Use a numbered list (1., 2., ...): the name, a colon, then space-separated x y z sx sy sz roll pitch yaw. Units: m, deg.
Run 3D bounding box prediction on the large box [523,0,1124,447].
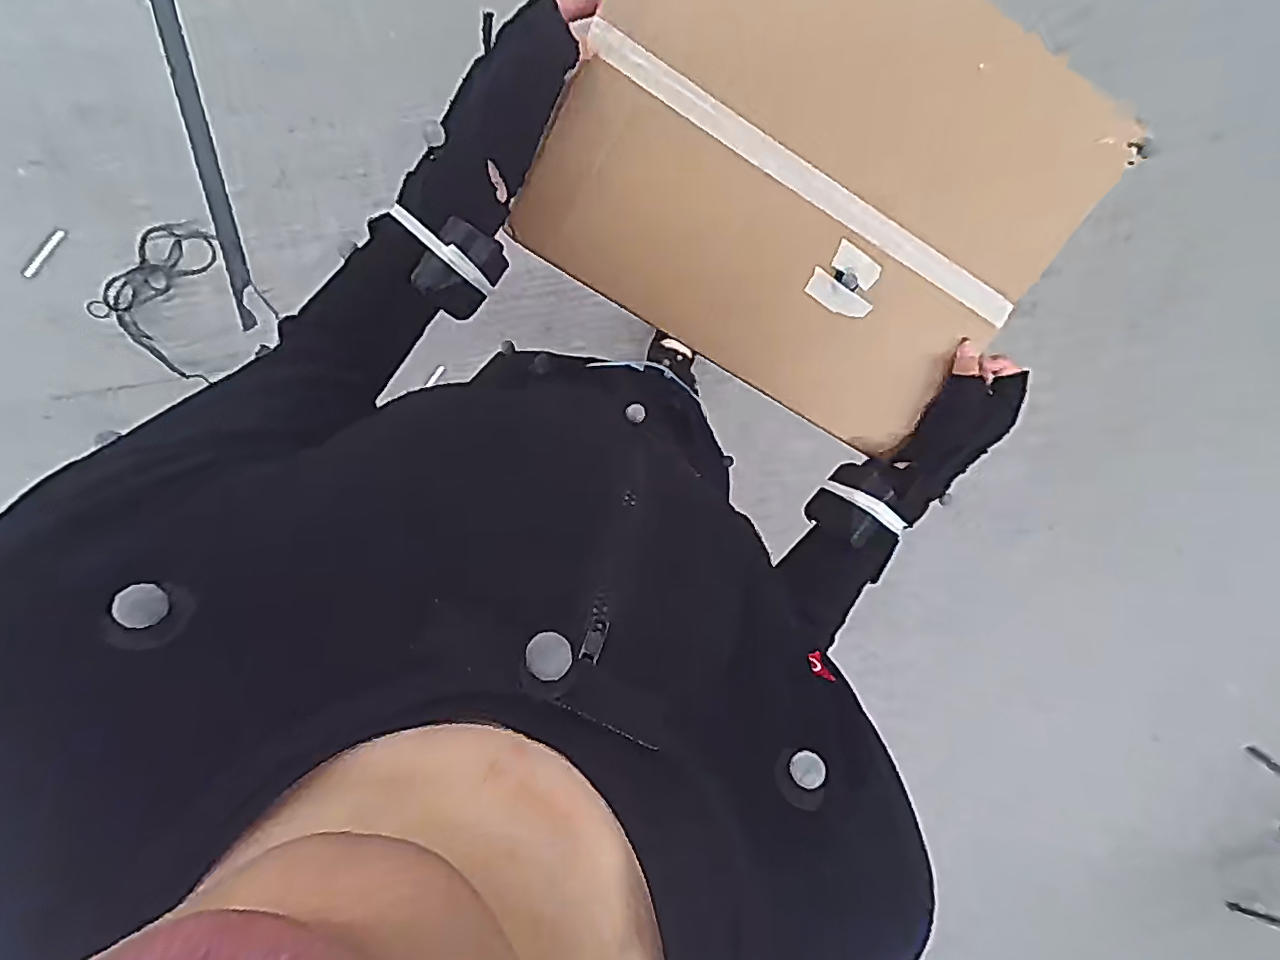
1. large box: 0.142 -0.296 0.583 0.408 0.320 0.320 29 109 -10
